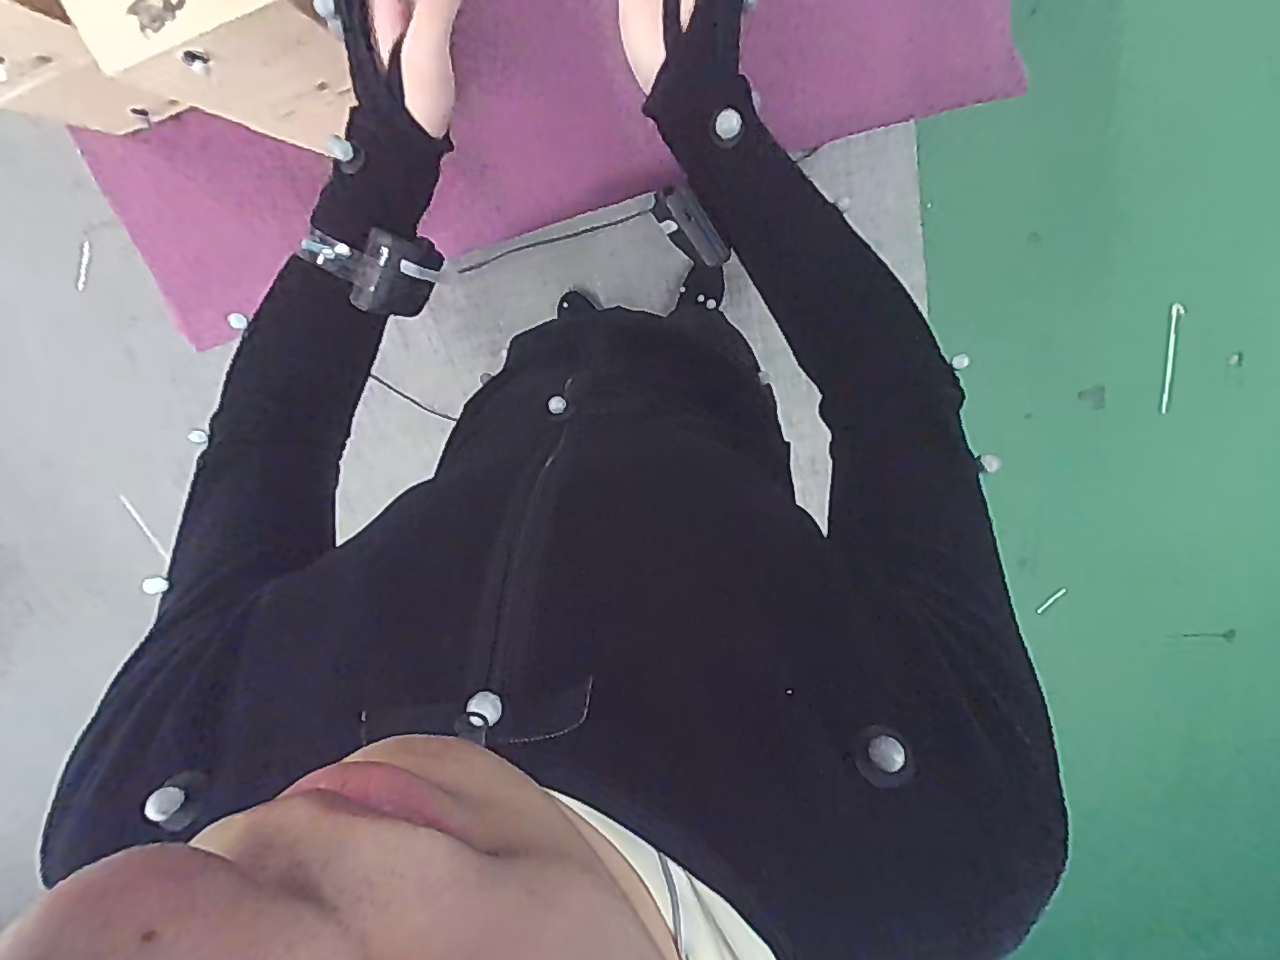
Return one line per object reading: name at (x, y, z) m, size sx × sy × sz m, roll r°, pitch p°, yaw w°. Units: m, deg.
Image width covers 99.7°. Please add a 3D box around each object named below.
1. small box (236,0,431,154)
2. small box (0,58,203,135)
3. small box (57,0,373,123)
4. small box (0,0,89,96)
small box at (-0.372, -0.506, 0.619) m, size 0.168 × 0.176 × 0.179 m, roll -15°, pitch 111°, yaw 7°
small box at (-0.651, -0.529, 0.613) m, size 0.168 × 0.176 × 0.179 m, roll -17°, pitch 112°, yaw 8°
small box at (-0.373, -0.448, 0.465) m, size 0.168 × 0.176 × 0.179 m, roll -16°, pitch 110°, yaw 8°
small box at (-0.652, -0.469, 0.461) m, size 0.168 × 0.176 × 0.179 m, roll -17°, pitch 112°, yaw 8°
